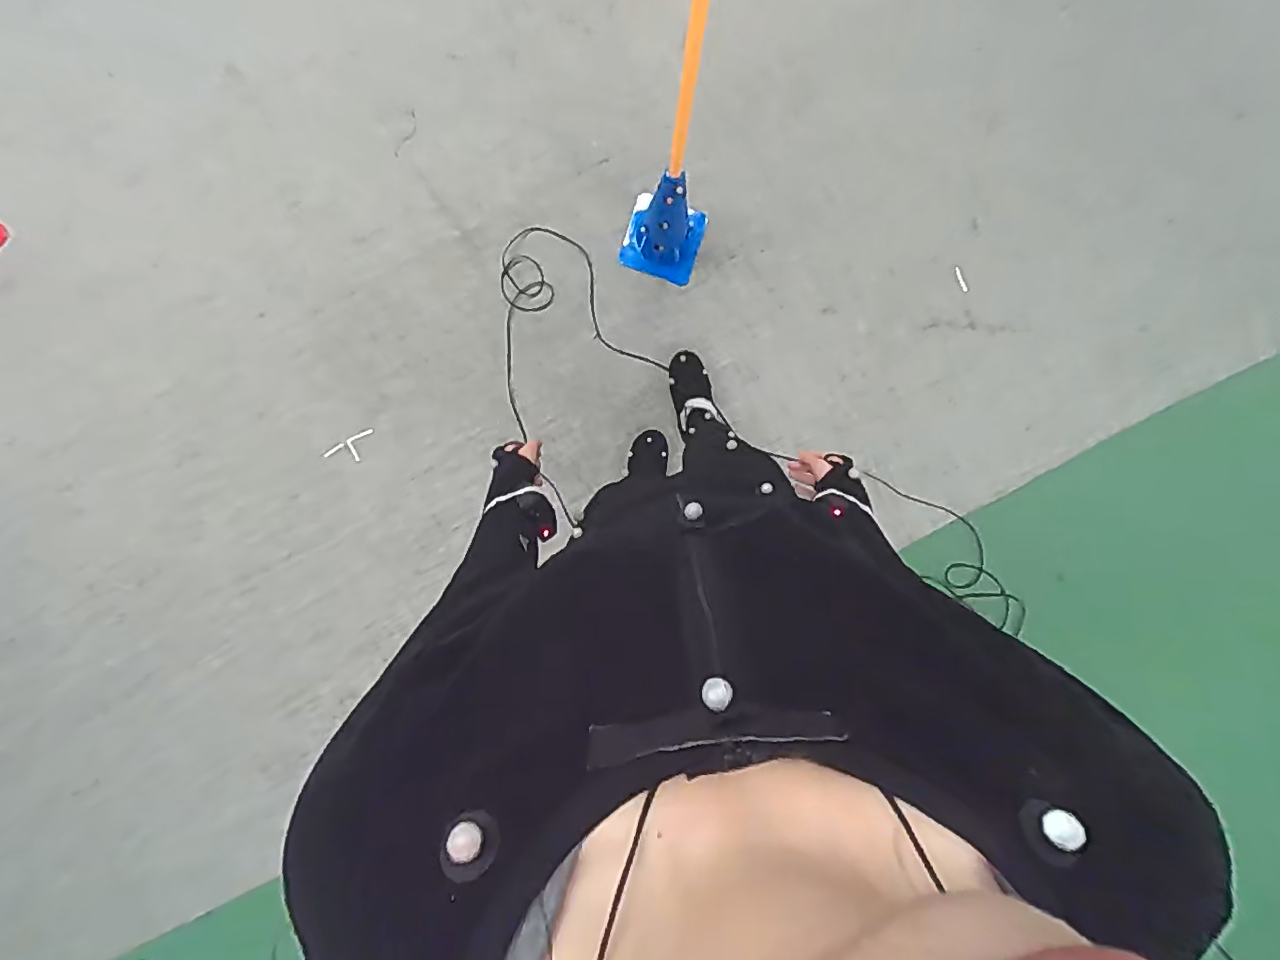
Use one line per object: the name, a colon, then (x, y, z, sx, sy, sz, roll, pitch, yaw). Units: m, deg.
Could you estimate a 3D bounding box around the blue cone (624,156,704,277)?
blue cone: (0.068, -0.641, 1.266, 0.192, 0.380, 0.193, 17, 92, -3)
